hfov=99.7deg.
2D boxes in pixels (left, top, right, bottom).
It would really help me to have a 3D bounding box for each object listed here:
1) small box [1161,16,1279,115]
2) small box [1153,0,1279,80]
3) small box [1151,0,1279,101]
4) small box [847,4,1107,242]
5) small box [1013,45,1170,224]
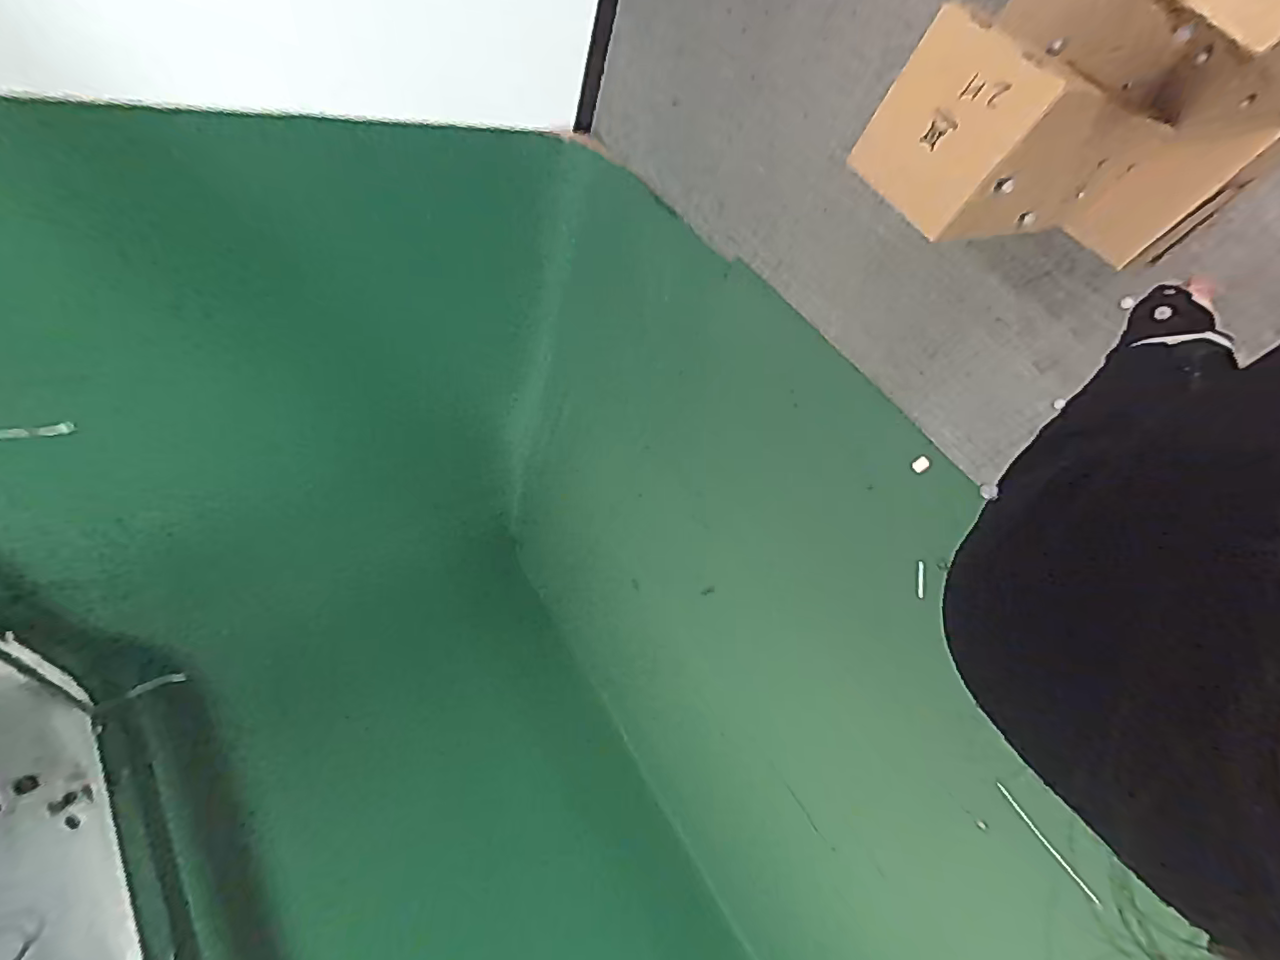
[{"bbox_3d":[0.786,-0.563,0.634,0.179,0.176,0.168,59,143,17],"label":"small box"},{"bbox_3d":[0.544,-0.468,0.434,0.168,0.176,0.179,59,144,16],"label":"small box"},{"bbox_3d":[0.668,-0.516,0.532,0.168,0.176,0.179,58,144,16],"label":"small box"},{"bbox_3d":[0.401,-0.418,0.655,0.168,0.176,0.179,57,145,19],"label":"small box"},{"bbox_3d":[0.654,-0.523,0.840,0.179,0.176,0.168,59,146,18],"label":"small box"}]
